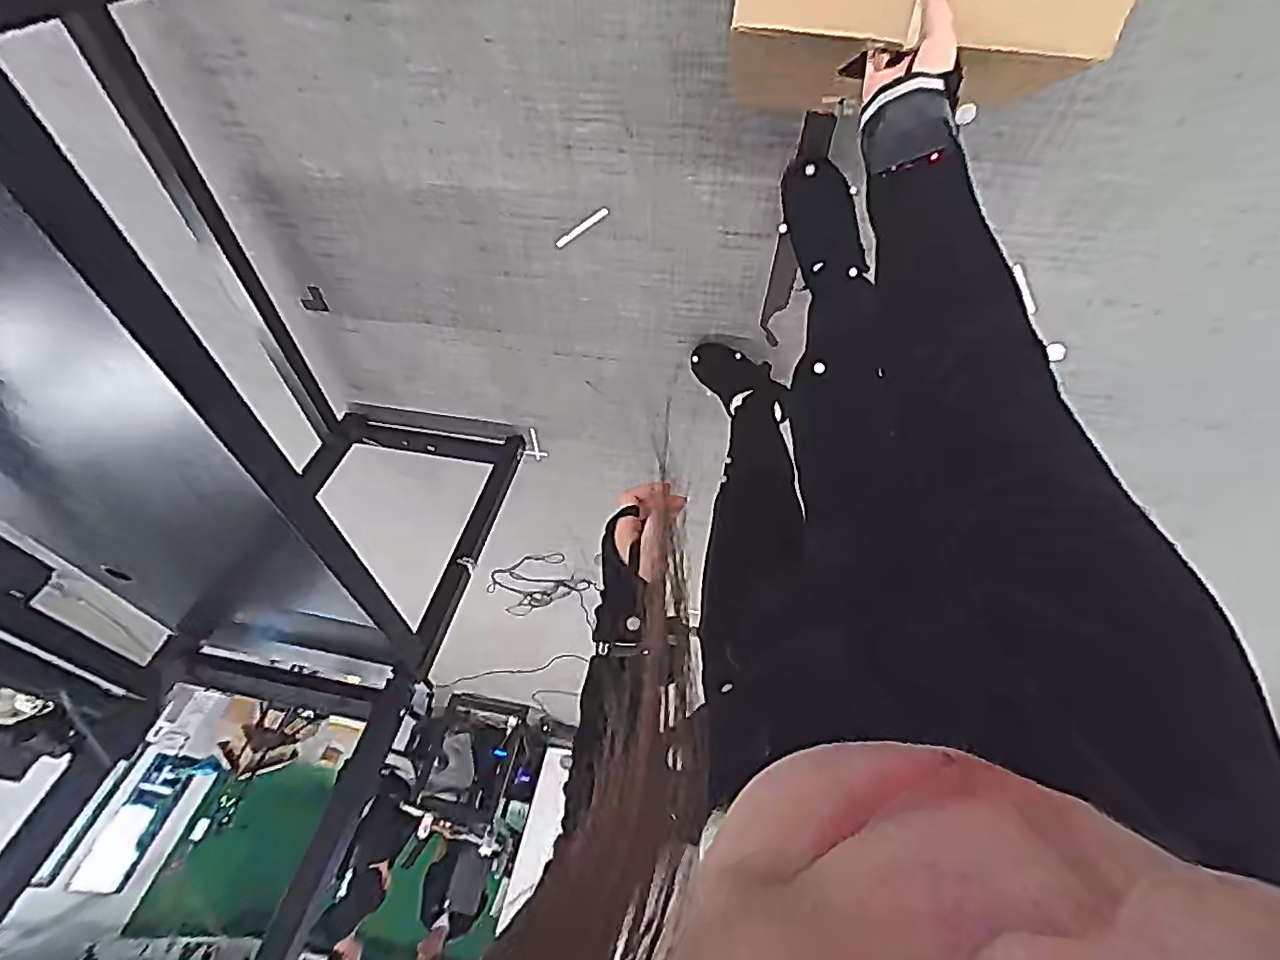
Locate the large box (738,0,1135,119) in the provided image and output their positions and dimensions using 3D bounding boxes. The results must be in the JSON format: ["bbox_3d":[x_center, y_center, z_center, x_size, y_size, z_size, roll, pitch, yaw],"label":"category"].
[{"bbox_3d":[0.275,-0.609,0.501,0.320,0.320,0.408,9,114,4],"label":"large box"}]
